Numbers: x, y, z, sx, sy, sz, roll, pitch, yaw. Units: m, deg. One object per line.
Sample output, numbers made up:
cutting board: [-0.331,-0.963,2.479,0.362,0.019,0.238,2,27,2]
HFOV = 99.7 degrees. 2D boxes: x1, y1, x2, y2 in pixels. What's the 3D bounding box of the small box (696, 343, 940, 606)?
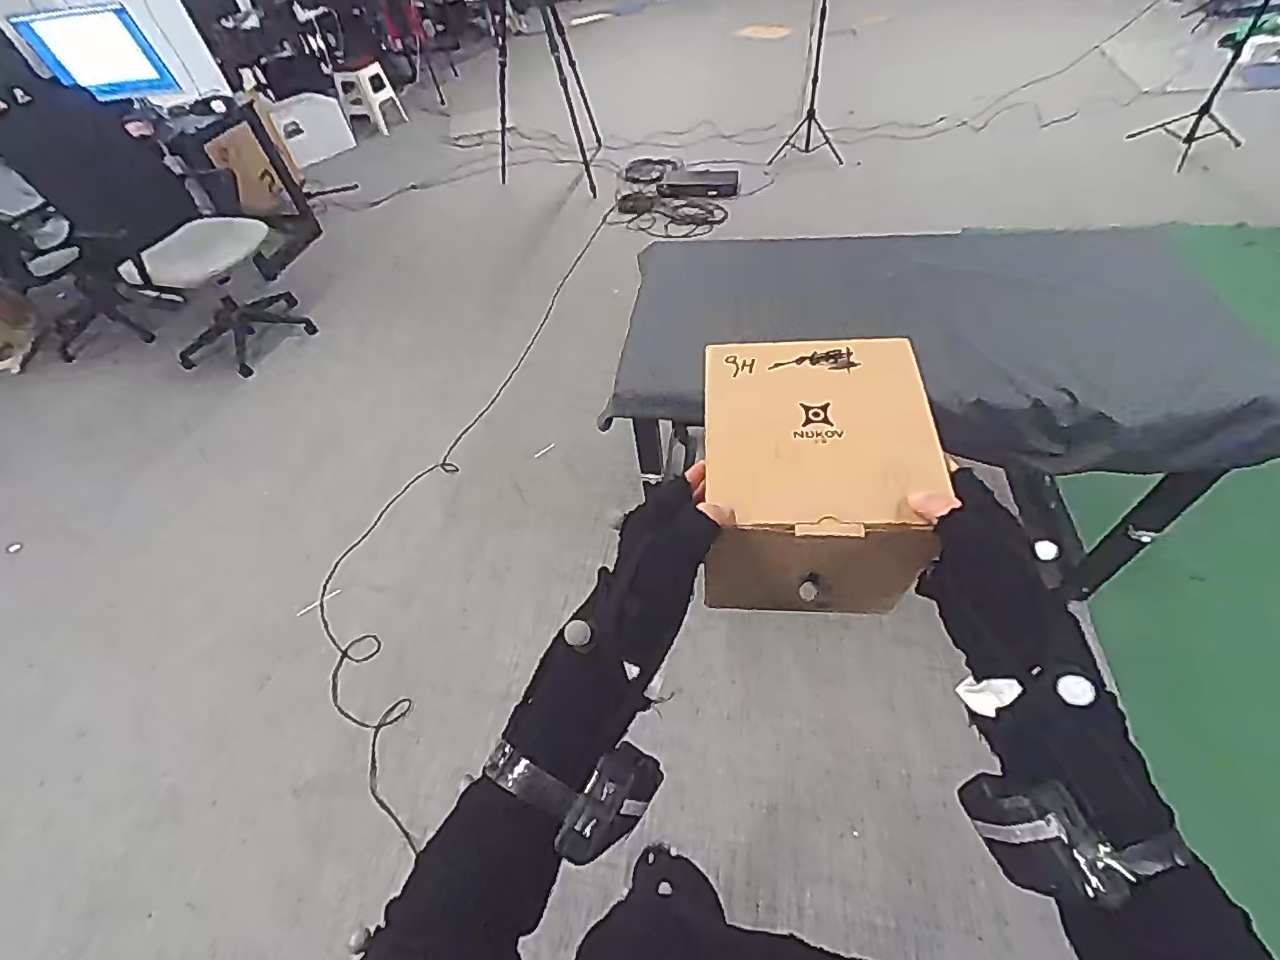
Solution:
small box: [0.138,0.004,0.480,0.168,0.176,0.179,0,58,8]
